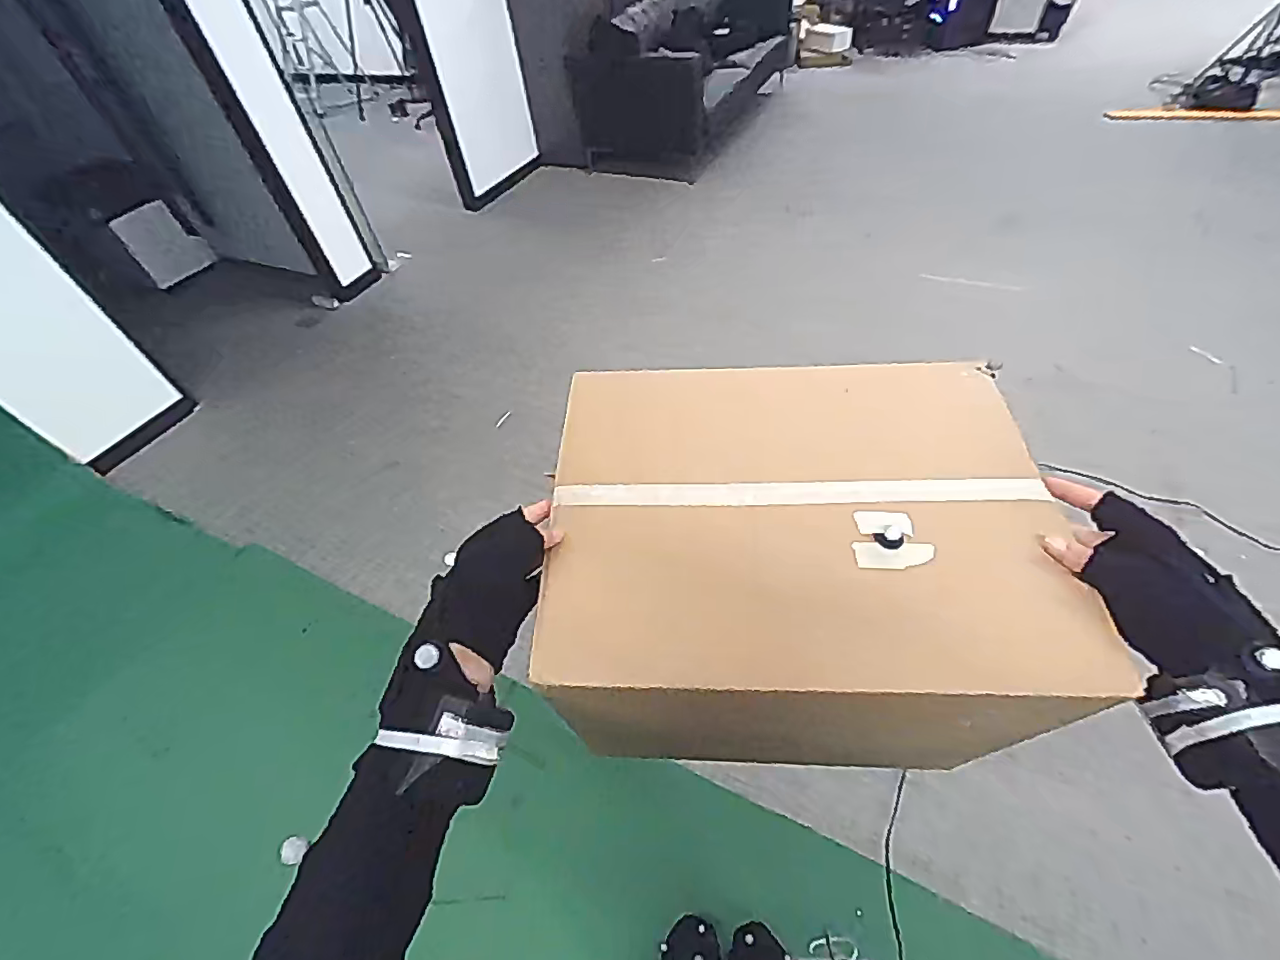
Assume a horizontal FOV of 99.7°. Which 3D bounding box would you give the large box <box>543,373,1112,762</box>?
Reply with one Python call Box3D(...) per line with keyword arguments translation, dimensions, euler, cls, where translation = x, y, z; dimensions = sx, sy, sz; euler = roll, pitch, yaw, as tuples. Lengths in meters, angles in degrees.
Box3D(translation=(0.138, 0.109, 0.586), dimensions=(0.408, 0.320, 0.320), euler=(-1, 55, 5), cls="large box")
